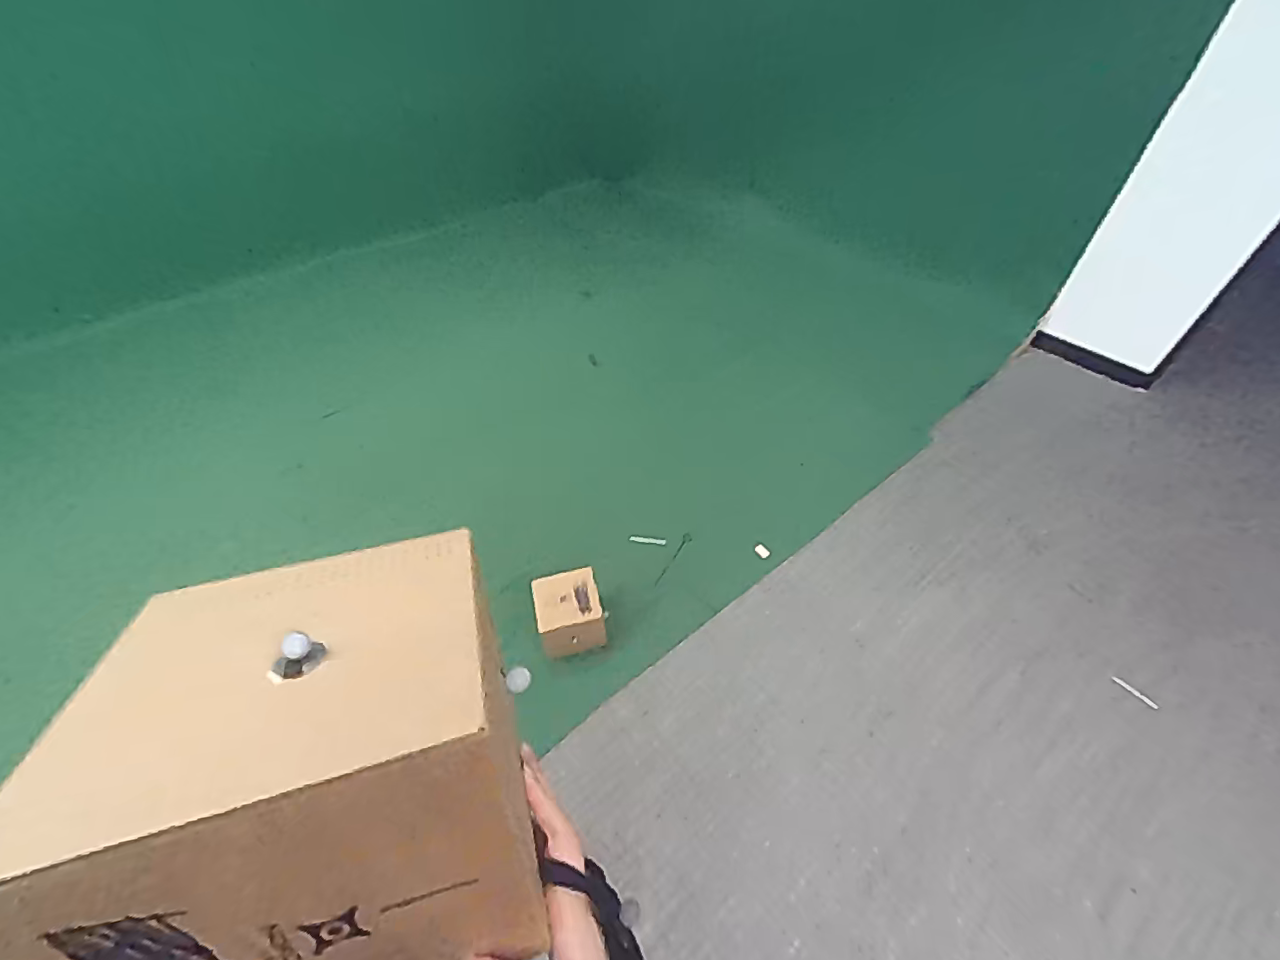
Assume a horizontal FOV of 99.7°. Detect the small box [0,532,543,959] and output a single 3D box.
[{"bbox_3d":[-0.161,0.149,0.300,0.179,0.168,0.176,-11,27,-15],"label":"small box"}]
